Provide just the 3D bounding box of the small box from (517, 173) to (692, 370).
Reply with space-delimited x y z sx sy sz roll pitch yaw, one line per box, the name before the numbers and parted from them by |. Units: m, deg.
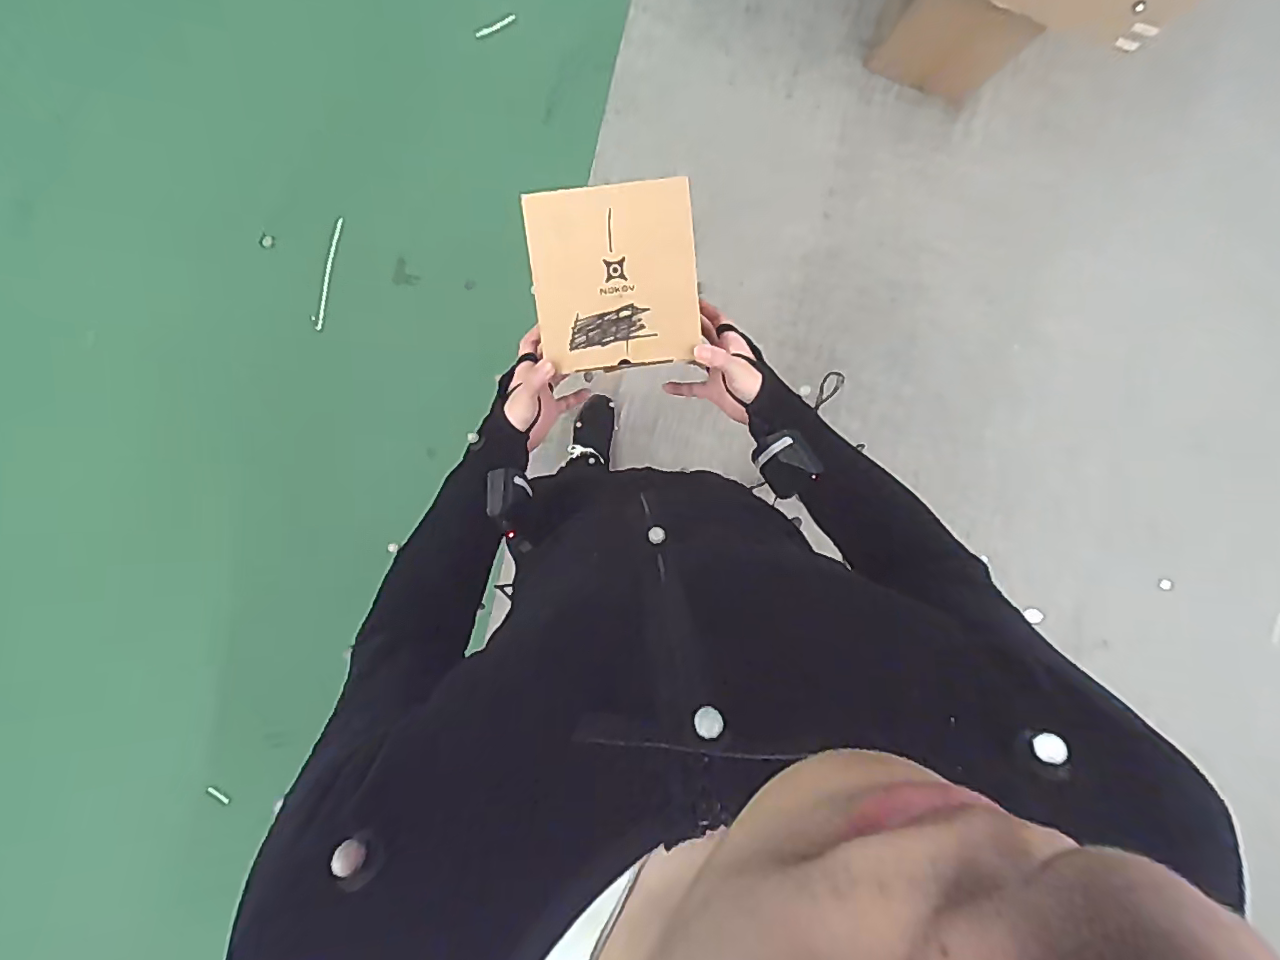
small box | -0.032 -0.223 0.617 0.168 0.176 0.179 -5 102 0
